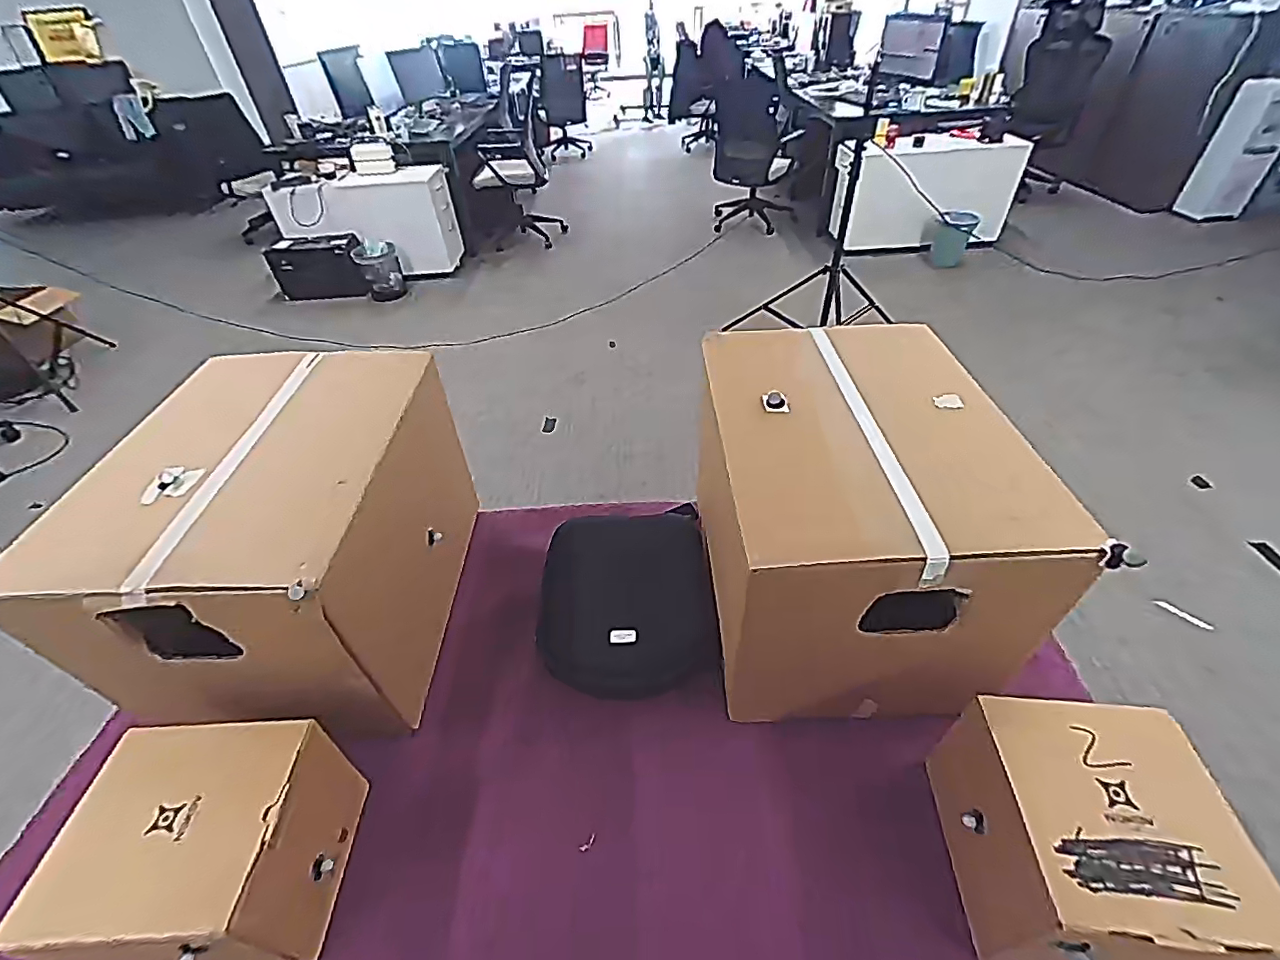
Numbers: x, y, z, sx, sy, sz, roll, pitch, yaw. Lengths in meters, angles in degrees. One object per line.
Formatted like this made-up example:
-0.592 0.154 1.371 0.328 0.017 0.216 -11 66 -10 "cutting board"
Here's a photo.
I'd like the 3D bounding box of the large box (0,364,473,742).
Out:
-0.438 0.085 0.724 0.320 0.320 0.408 -2 45 0 "large box"
